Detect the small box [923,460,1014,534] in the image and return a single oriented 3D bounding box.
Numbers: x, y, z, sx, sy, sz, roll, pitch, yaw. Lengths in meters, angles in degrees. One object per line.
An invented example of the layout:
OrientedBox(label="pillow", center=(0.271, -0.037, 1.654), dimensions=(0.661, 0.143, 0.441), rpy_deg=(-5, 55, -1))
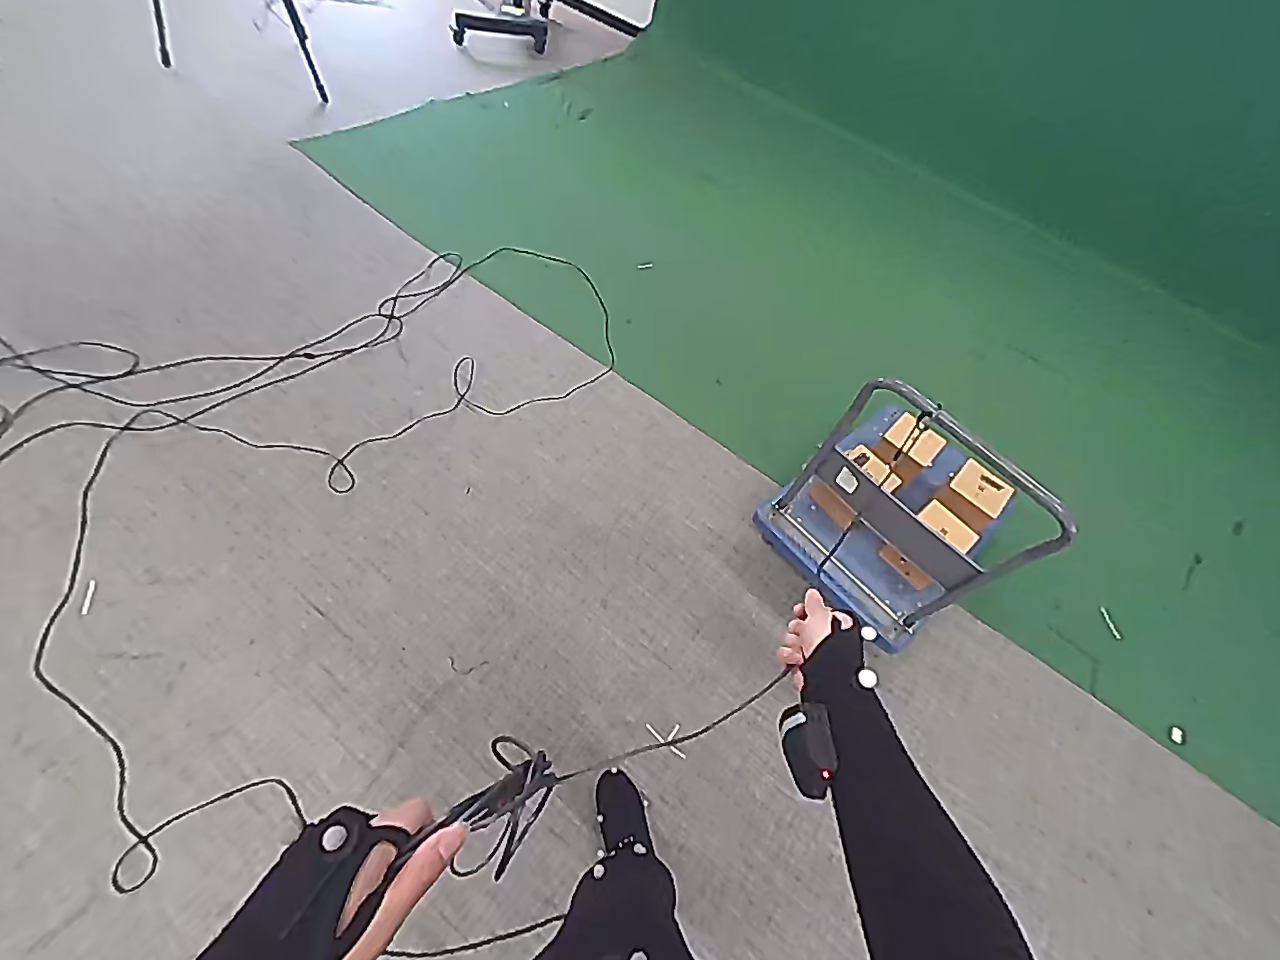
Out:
OrientedBox(label="small box", center=(1.083, 0.071, 1.792), dimensions=(0.168, 0.176, 0.179), rpy_deg=(42, 59, 18))

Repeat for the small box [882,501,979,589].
OrientedBox(label="small box", center=(0.885, 0.202, 1.662), dimensions=(0.179, 0.176, 0.168), rpy_deg=(-33, 68, -28))

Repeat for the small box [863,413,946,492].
OrientedBox(label="small box", center=(0.904, -0.090, 1.865), dimensions=(0.168, 0.176, 0.179), rpy_deg=(43, 58, 17))
